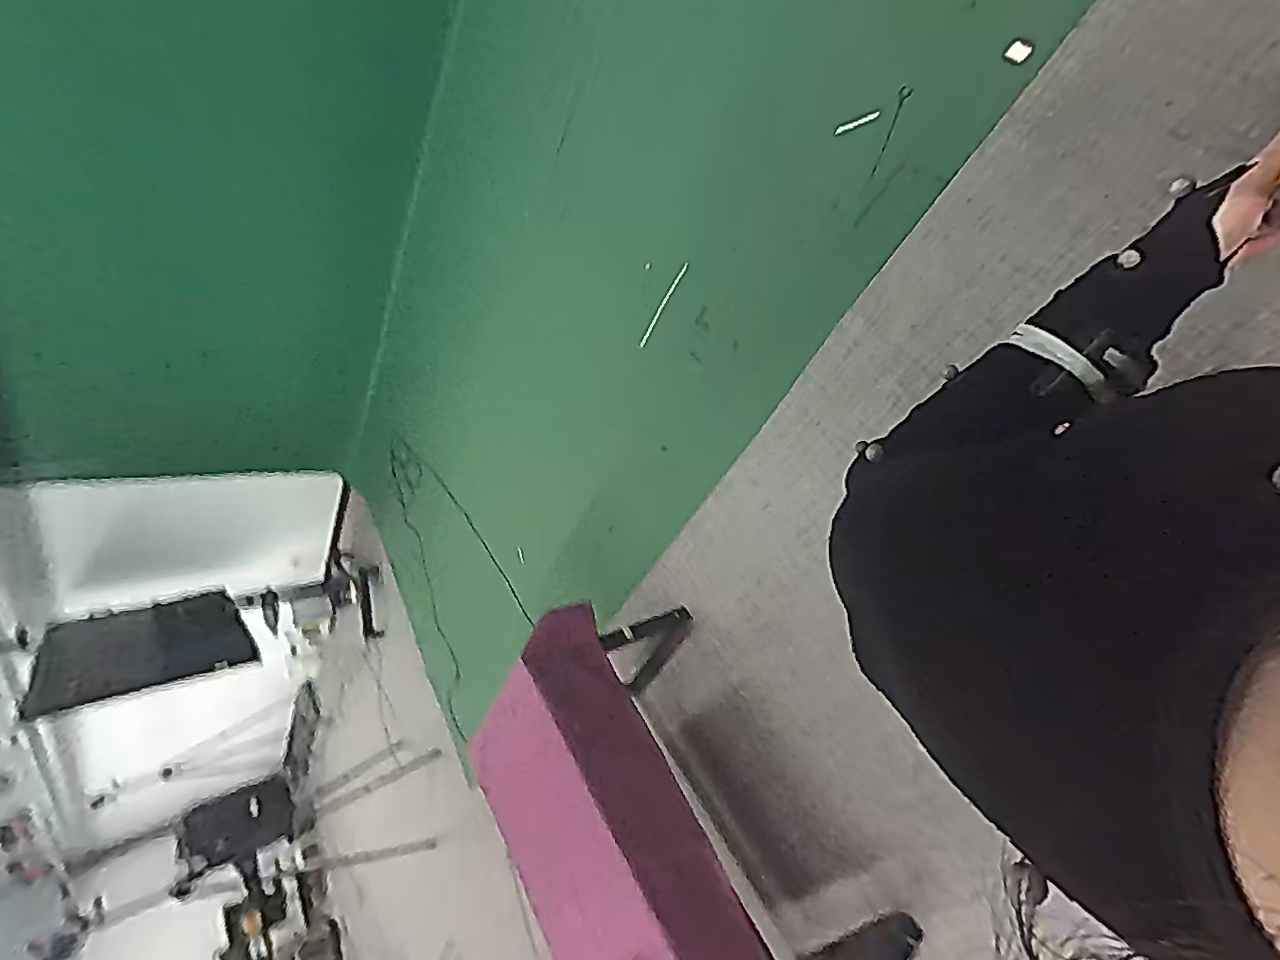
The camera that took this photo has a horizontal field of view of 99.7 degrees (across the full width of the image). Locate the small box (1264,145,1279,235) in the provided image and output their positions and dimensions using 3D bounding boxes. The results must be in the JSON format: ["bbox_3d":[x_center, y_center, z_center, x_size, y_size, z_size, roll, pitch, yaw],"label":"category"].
[{"bbox_3d":[0.486,-0.234,0.288,0.168,0.176,0.179,26,119,42],"label":"small box"}]
